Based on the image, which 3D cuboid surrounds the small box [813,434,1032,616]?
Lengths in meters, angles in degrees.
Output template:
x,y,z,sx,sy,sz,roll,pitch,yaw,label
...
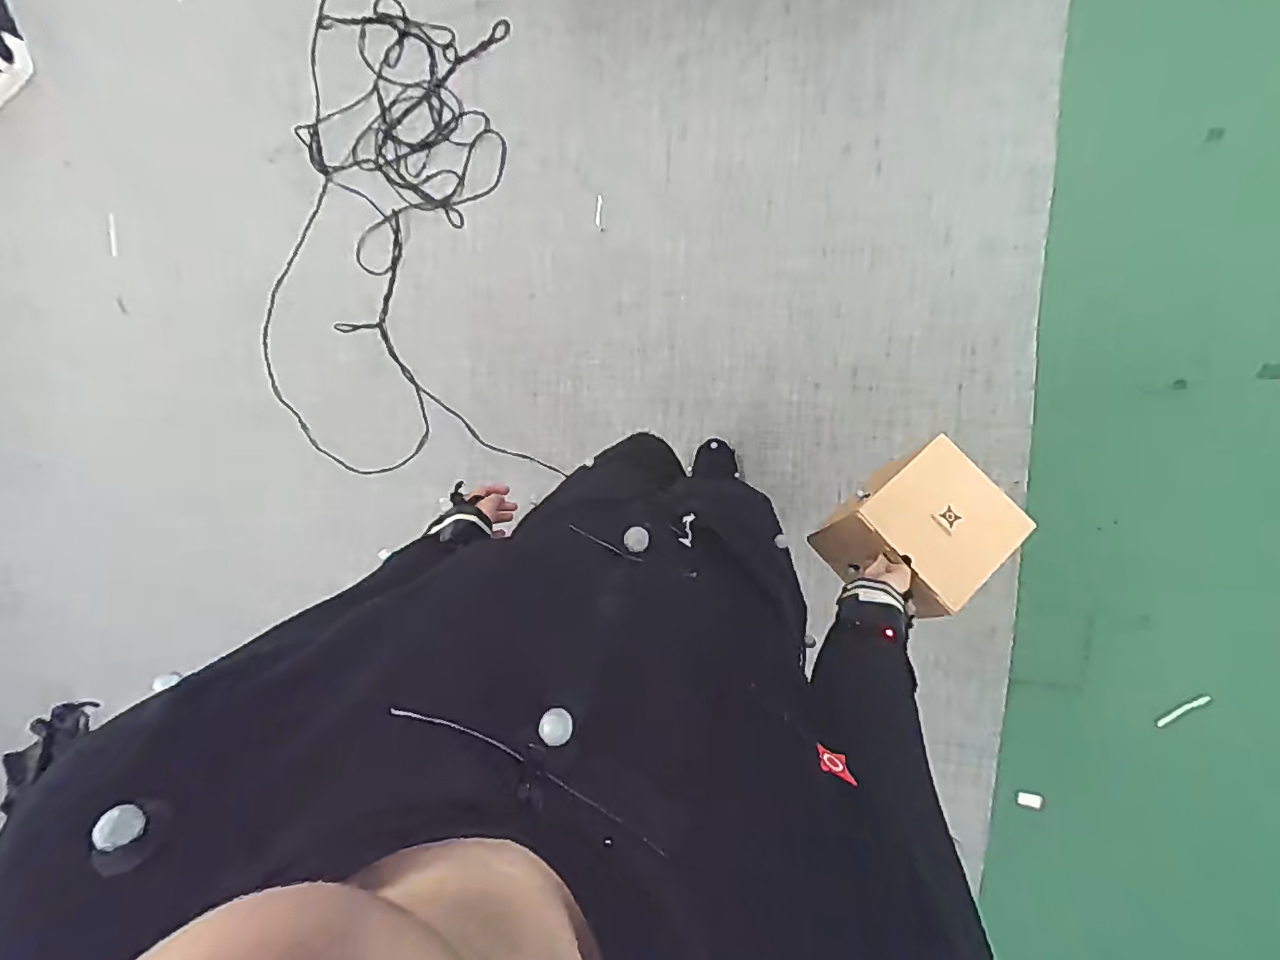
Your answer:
x,y,z,sx,sy,sz,roll,pitch,yaw,label
0.377,0.071,0.755,0.179,0.176,0.168,-38,80,-16,small box
